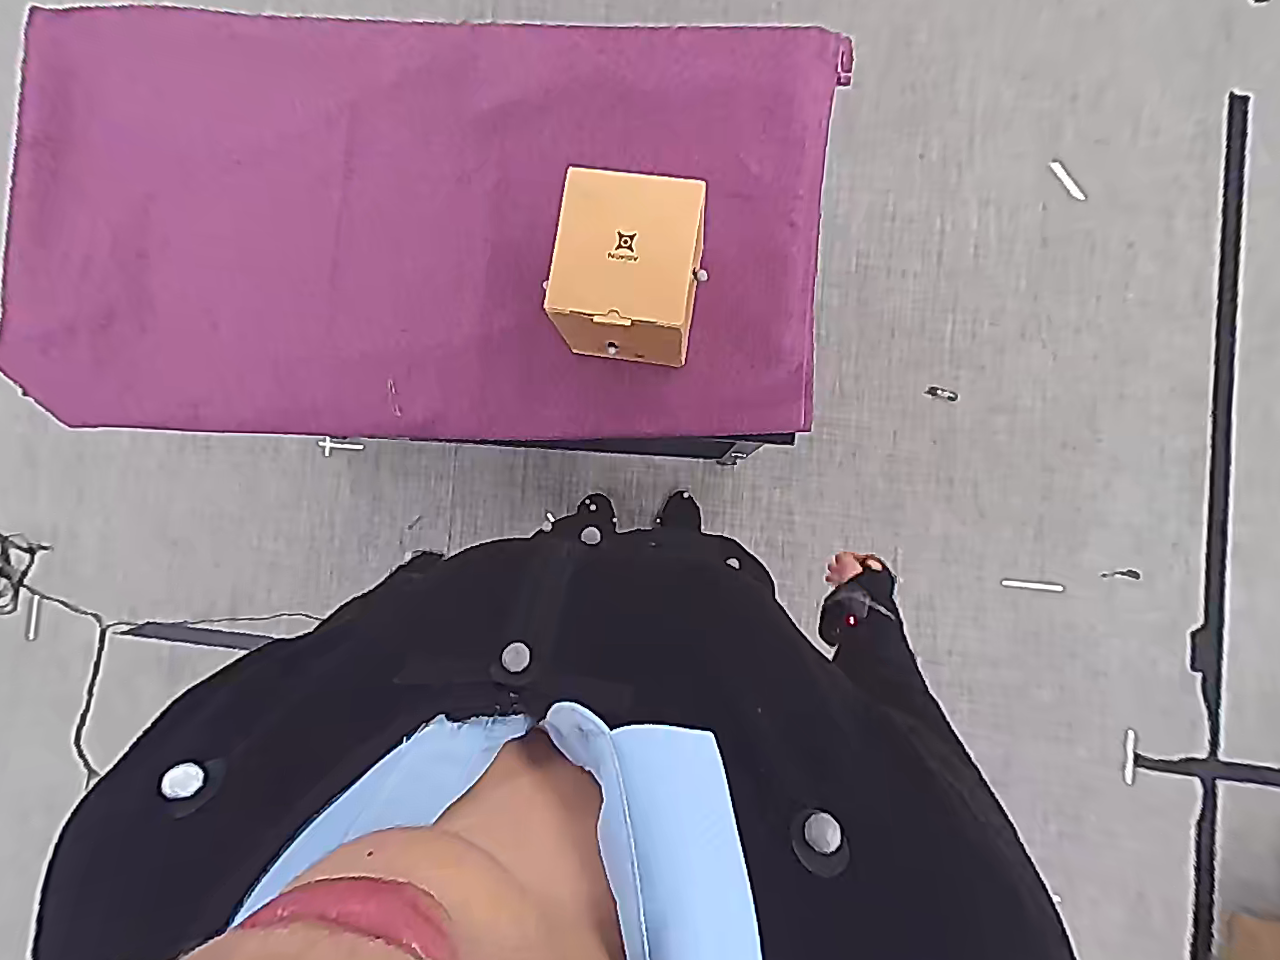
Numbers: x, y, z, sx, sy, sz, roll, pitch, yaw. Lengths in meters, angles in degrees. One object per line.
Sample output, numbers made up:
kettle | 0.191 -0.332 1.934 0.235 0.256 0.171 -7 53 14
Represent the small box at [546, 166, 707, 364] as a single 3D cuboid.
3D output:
small box | -0.011 -0.267 0.704 0.168 0.176 0.179 9 88 5
